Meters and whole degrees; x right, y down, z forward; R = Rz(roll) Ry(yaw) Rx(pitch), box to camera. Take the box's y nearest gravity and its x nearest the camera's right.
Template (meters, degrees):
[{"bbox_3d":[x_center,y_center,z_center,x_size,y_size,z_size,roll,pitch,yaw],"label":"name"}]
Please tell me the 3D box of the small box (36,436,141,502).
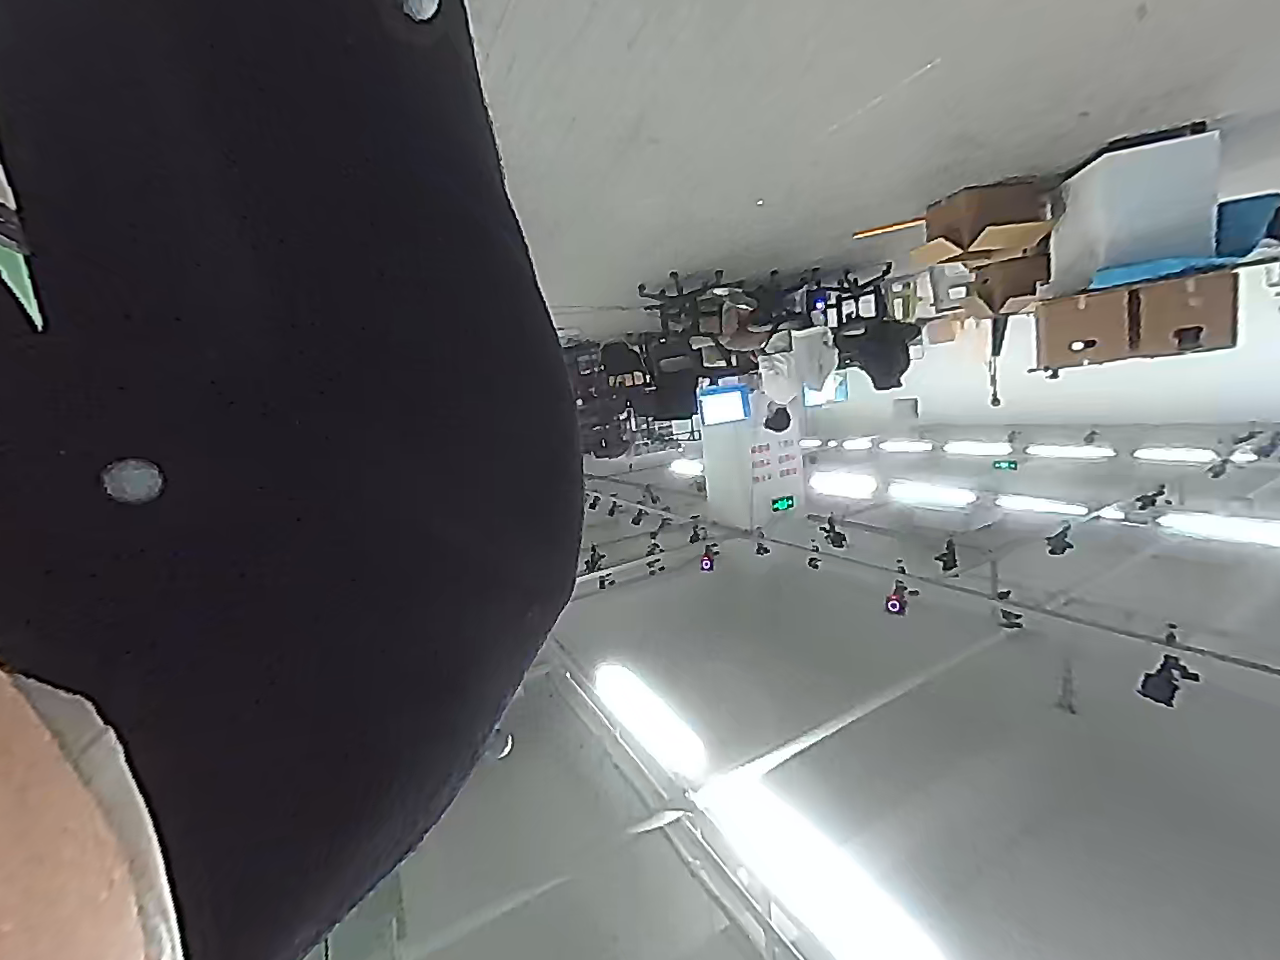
[{"bbox_3d":[-1.690,-0.040,1.666,0.168,0.176,0.179,-14,-168,-27],"label":"small box"}]
